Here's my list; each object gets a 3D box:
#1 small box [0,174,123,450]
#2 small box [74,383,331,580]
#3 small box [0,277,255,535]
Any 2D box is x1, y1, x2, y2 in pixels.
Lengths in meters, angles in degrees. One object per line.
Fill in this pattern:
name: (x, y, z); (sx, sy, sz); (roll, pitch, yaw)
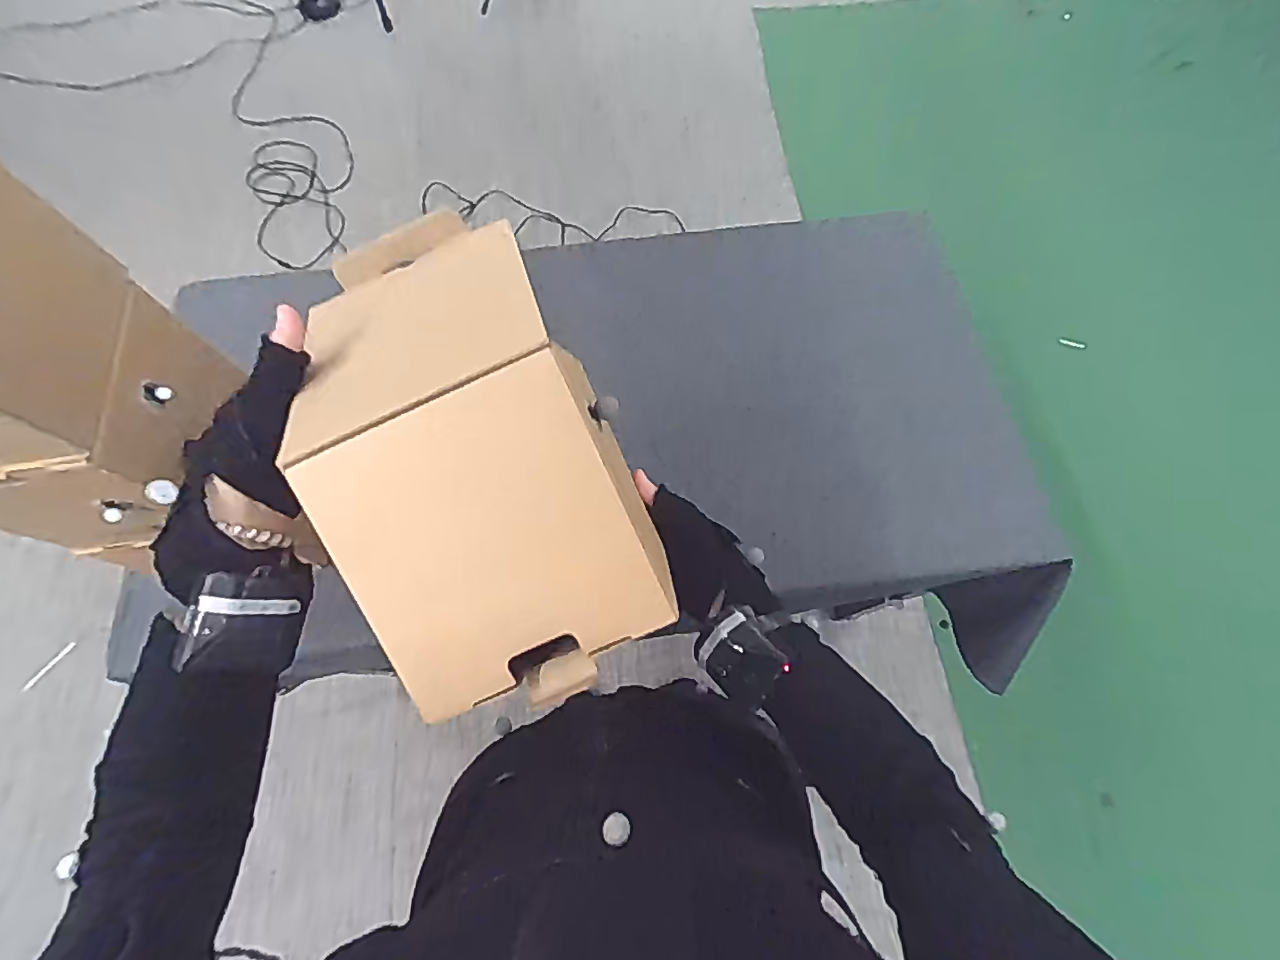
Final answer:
small box: (-0.498, -0.121, 0.350); (0.168, 0.176, 0.179); (-9, 68, -5)
small box: (-0.498, 0.009, 0.650); (0.168, 0.176, 0.179); (-8, 69, -3)
small box: (-0.497, -0.054, 0.500); (0.168, 0.176, 0.179); (-7, 69, -4)
